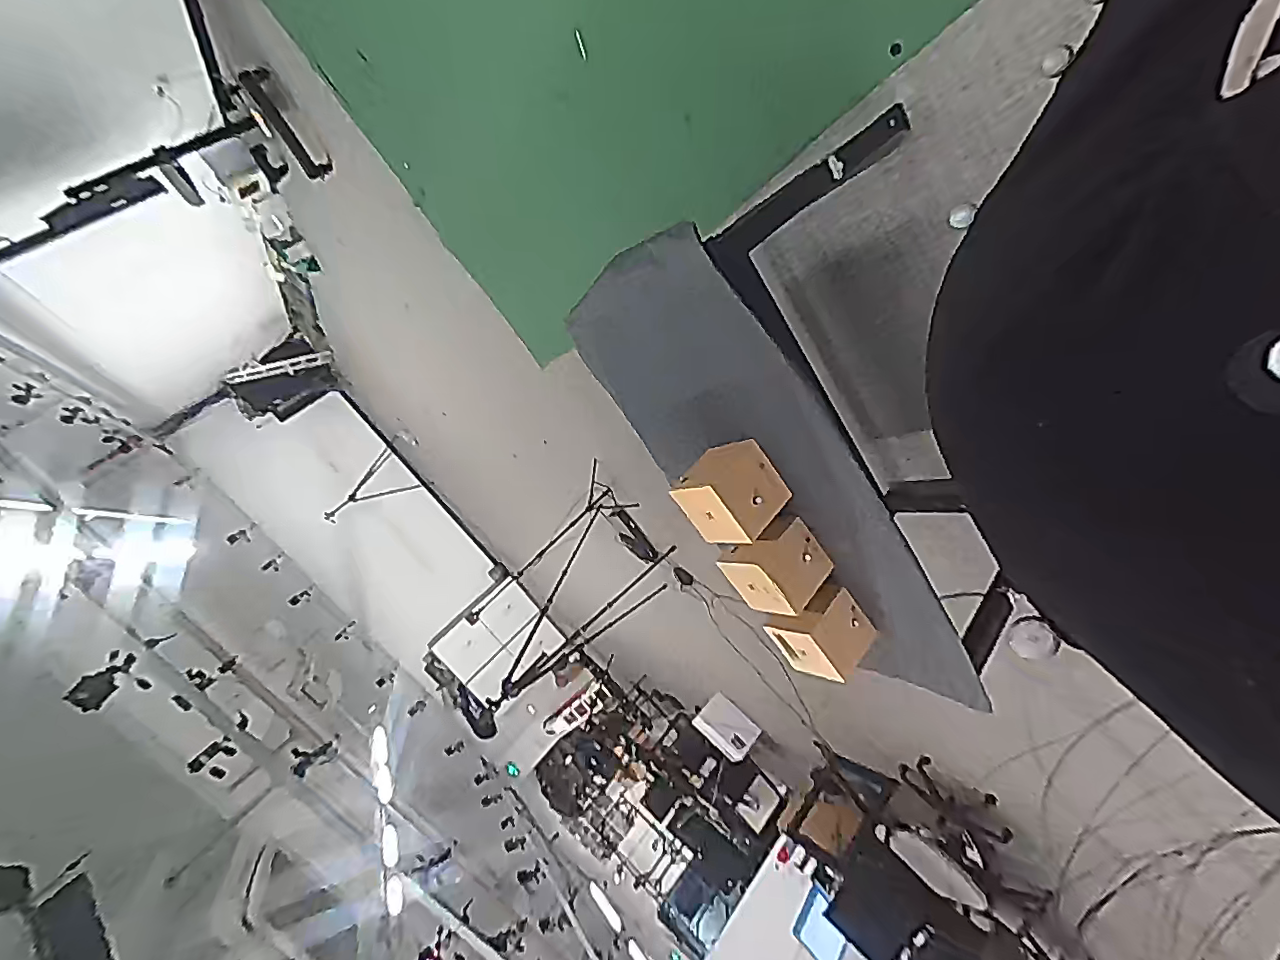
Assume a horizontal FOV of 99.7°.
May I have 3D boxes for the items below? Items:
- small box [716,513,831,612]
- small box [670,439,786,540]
[{"bbox_3d":[0.329,0.196,1.326,0.168,0.176,0.179,51,155,-13],"label":"small box"},{"bbox_3d":[0.210,0.022,1.250,0.168,0.176,0.179,52,156,-13],"label":"small box"}]
